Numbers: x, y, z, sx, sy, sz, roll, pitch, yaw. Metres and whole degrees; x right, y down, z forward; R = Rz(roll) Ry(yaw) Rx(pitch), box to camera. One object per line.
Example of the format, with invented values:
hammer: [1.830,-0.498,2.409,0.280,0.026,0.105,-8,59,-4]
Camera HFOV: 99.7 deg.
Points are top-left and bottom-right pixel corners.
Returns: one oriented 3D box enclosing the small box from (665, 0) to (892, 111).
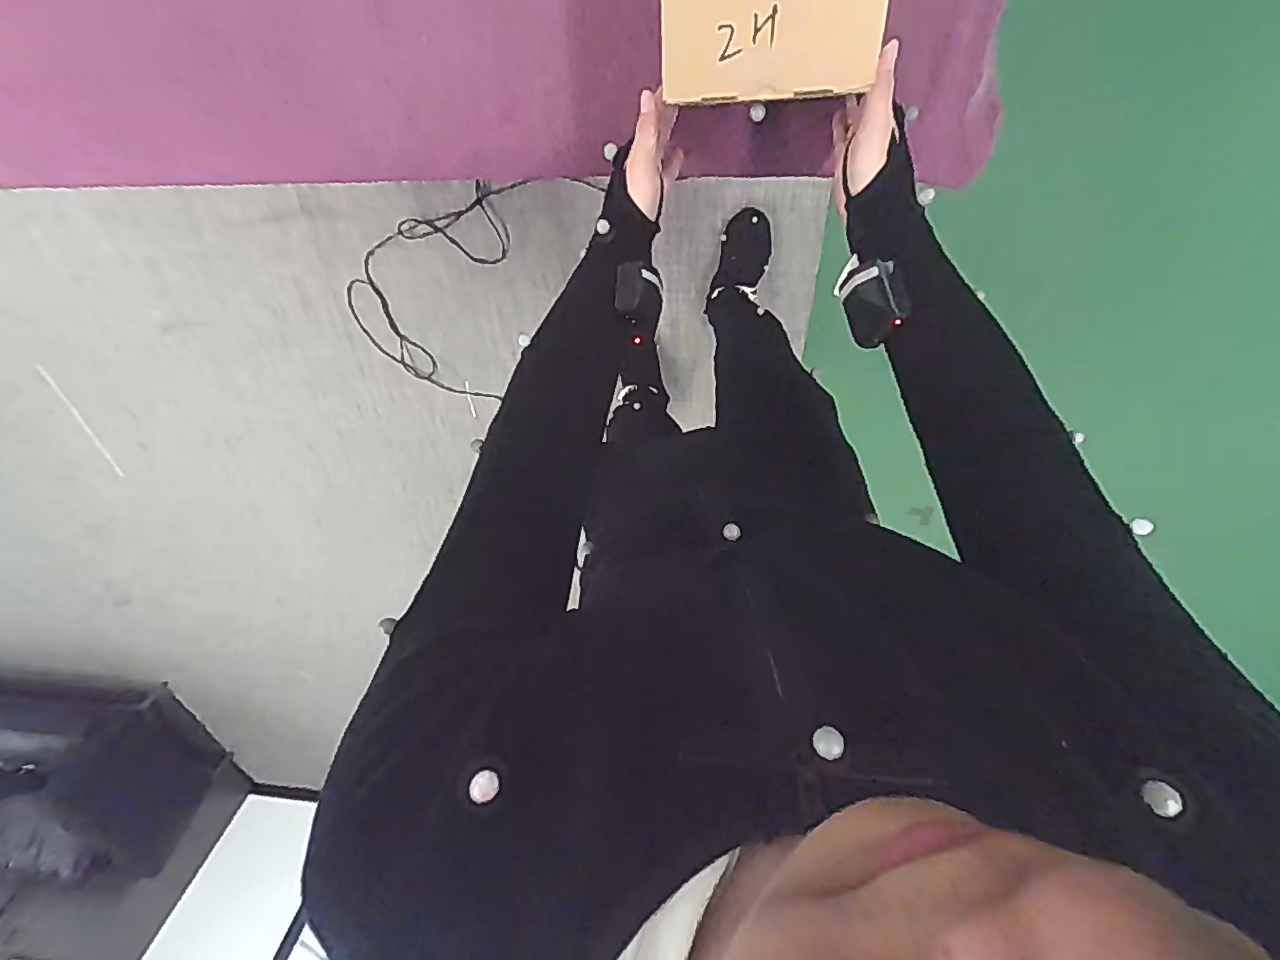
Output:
small box: [0.109,-0.413,0.446,0.168,0.176,0.179,3,126,7]

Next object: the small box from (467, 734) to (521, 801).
small box: [-0.583,1.156,2.178,0.168,0.176,0.179,8,127,1]
